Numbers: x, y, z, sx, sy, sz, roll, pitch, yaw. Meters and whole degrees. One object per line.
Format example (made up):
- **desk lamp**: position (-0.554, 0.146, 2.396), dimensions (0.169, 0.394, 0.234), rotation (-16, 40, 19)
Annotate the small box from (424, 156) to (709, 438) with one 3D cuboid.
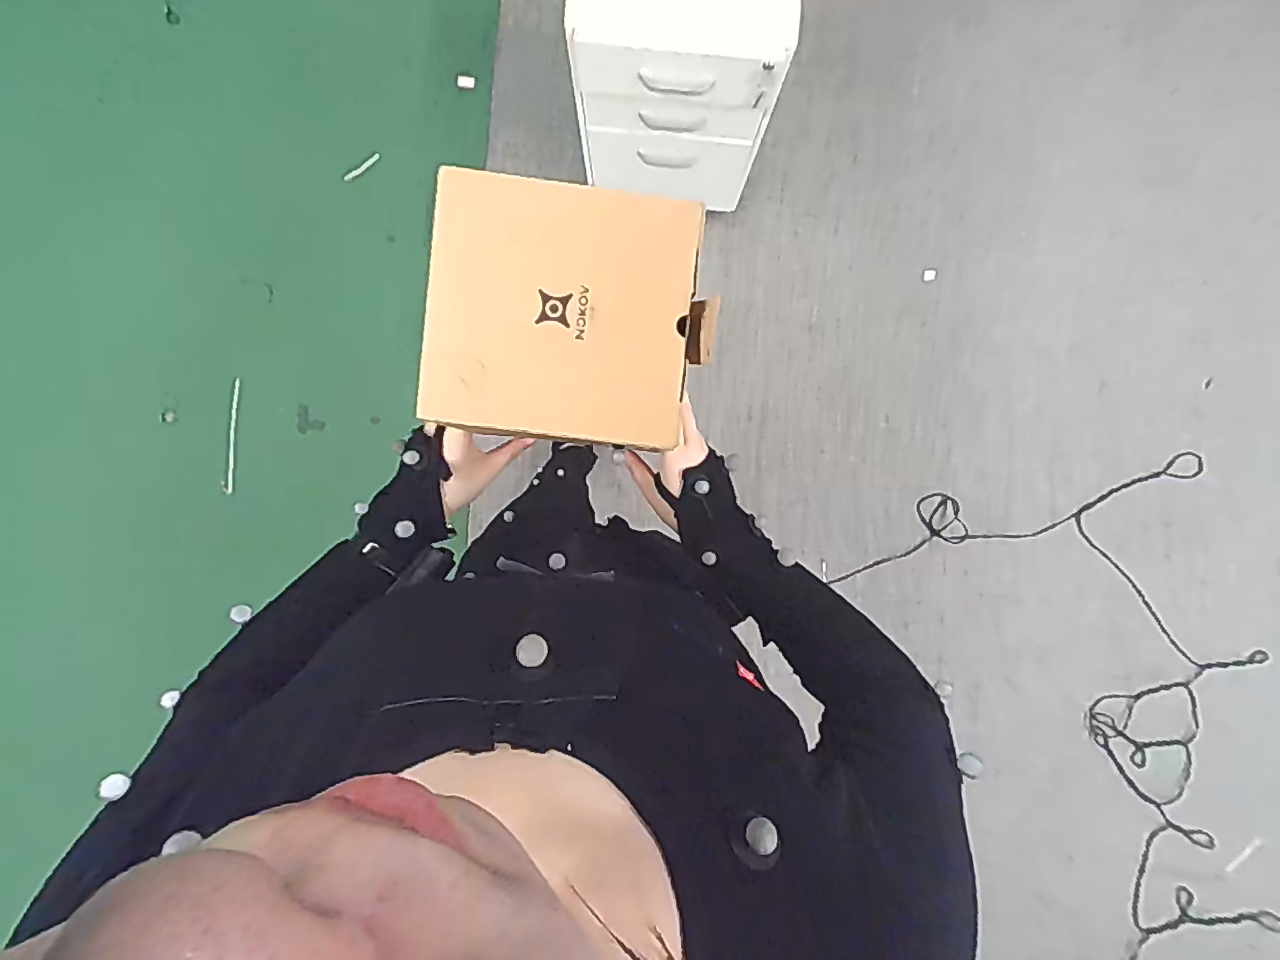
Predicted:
- **small box**: position (-0.053, -0.126, 0.441), dimensions (0.179, 0.176, 0.168), rotation (6, 92, -4)
